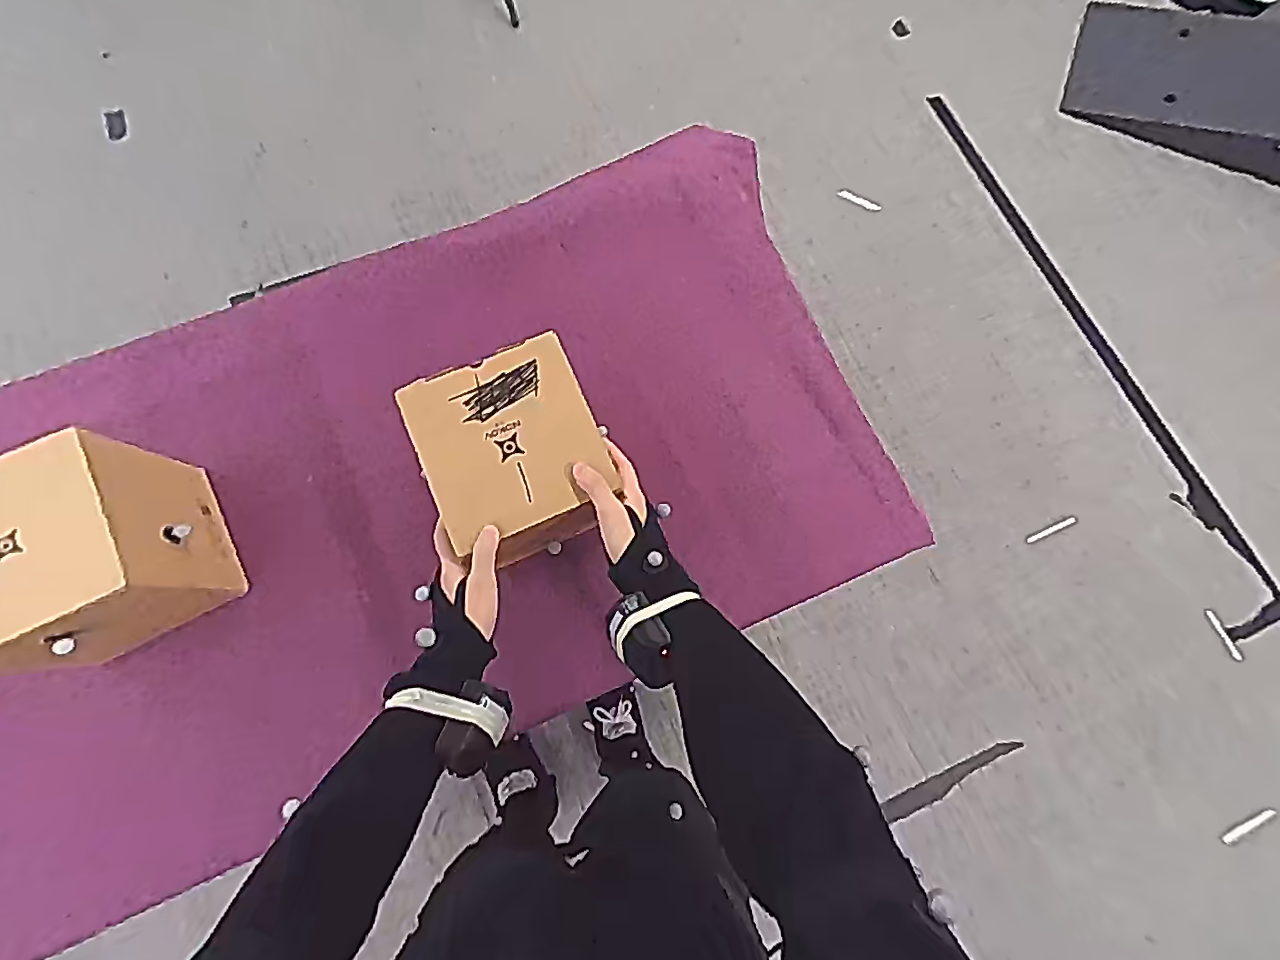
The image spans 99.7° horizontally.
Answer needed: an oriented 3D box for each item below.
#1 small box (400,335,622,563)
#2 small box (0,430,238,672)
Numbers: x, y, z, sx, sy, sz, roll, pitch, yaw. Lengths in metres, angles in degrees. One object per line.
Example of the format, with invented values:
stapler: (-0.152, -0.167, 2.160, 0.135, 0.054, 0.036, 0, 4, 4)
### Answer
small box: (-0.129, -0.022, 0.591, 0.168, 0.176, 0.179, -23, 80, -7)
small box: (-0.559, 0.075, 0.553, 0.179, 0.176, 0.168, -27, 80, -8)
